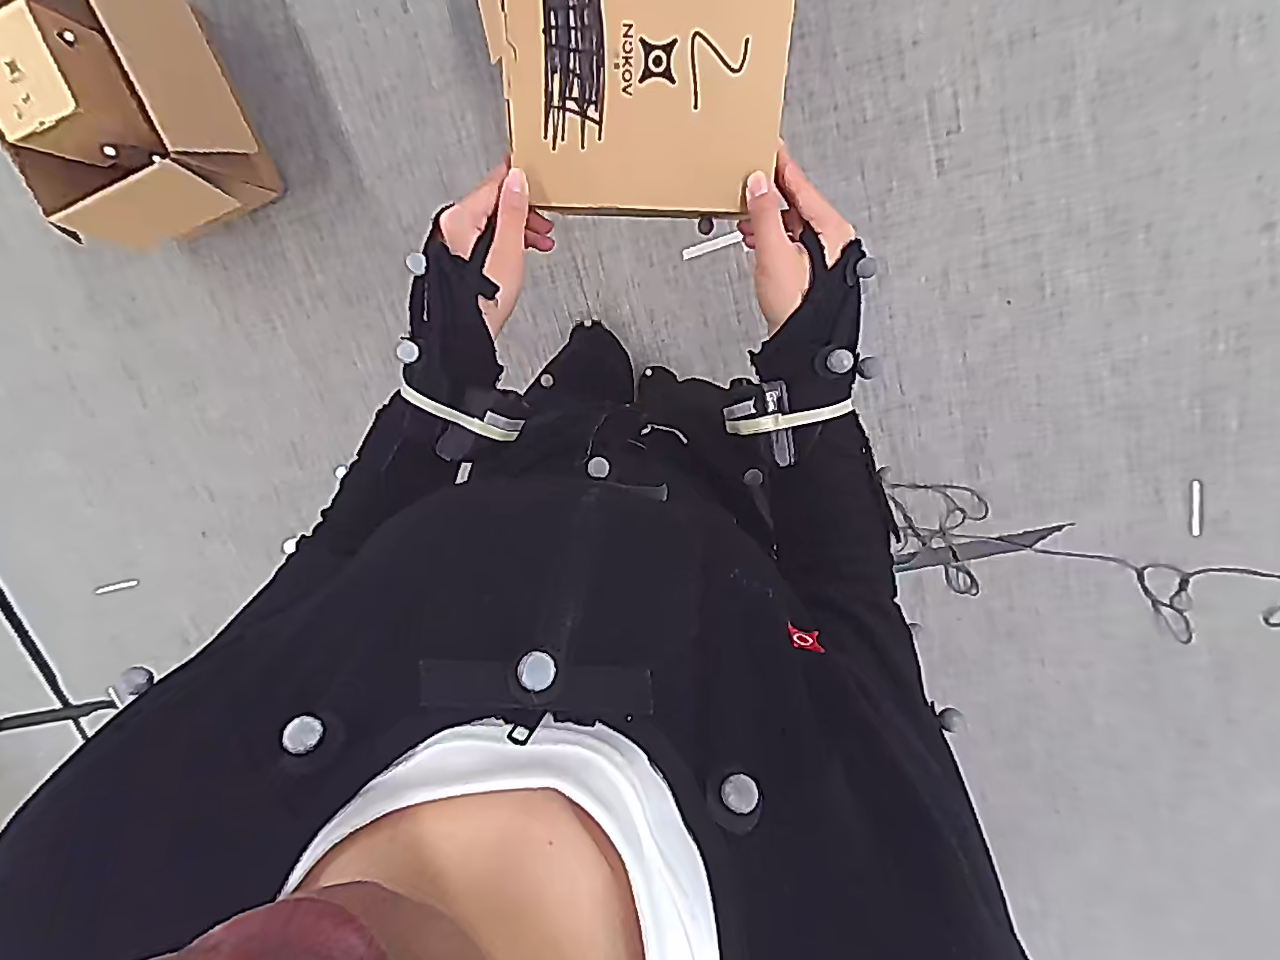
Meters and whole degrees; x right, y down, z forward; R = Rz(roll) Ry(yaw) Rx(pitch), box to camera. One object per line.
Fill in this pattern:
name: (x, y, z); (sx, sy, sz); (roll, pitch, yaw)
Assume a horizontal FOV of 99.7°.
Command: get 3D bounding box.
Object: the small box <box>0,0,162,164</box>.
small box: (-1.072, -0.730, 1.013); (0.168, 0.176, 0.179); (-15, 105, 10)
